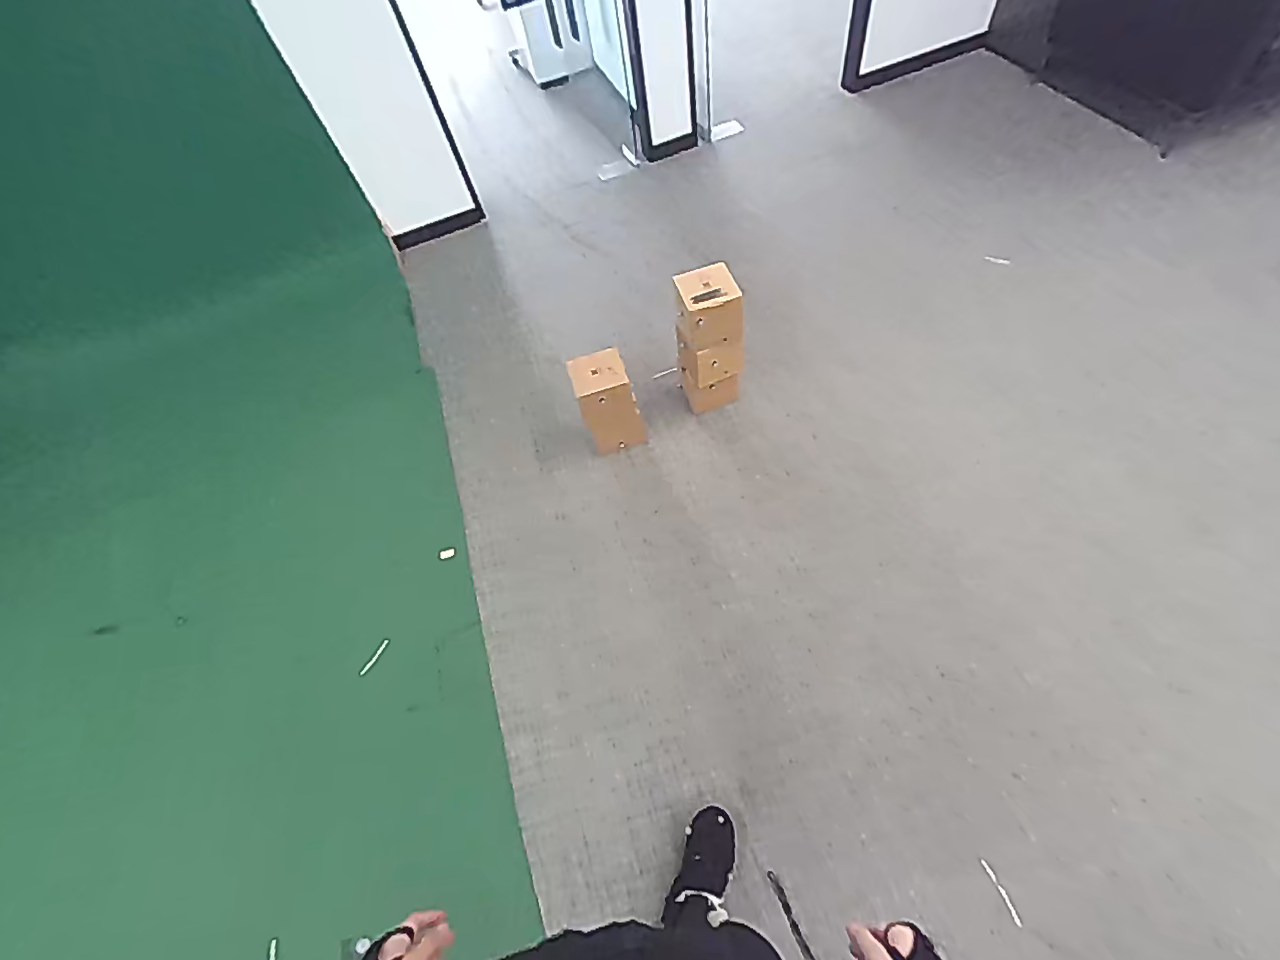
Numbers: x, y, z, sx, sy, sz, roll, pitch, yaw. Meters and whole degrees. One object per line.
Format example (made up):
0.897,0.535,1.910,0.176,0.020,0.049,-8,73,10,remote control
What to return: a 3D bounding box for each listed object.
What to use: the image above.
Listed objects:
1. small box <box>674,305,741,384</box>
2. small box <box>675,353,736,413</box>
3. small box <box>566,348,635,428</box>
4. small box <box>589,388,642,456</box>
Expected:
0.229,-0.442,1.804,0.168,0.176,0.179,-23,57,-5,small box
0.241,-0.369,1.949,0.179,0.176,0.168,-19,58,-3,small box
-0.127,-0.296,1.771,0.179,0.176,0.168,-17,58,-2,small box
-0.096,-0.212,1.910,0.179,0.176,0.168,-18,57,-2,small box
